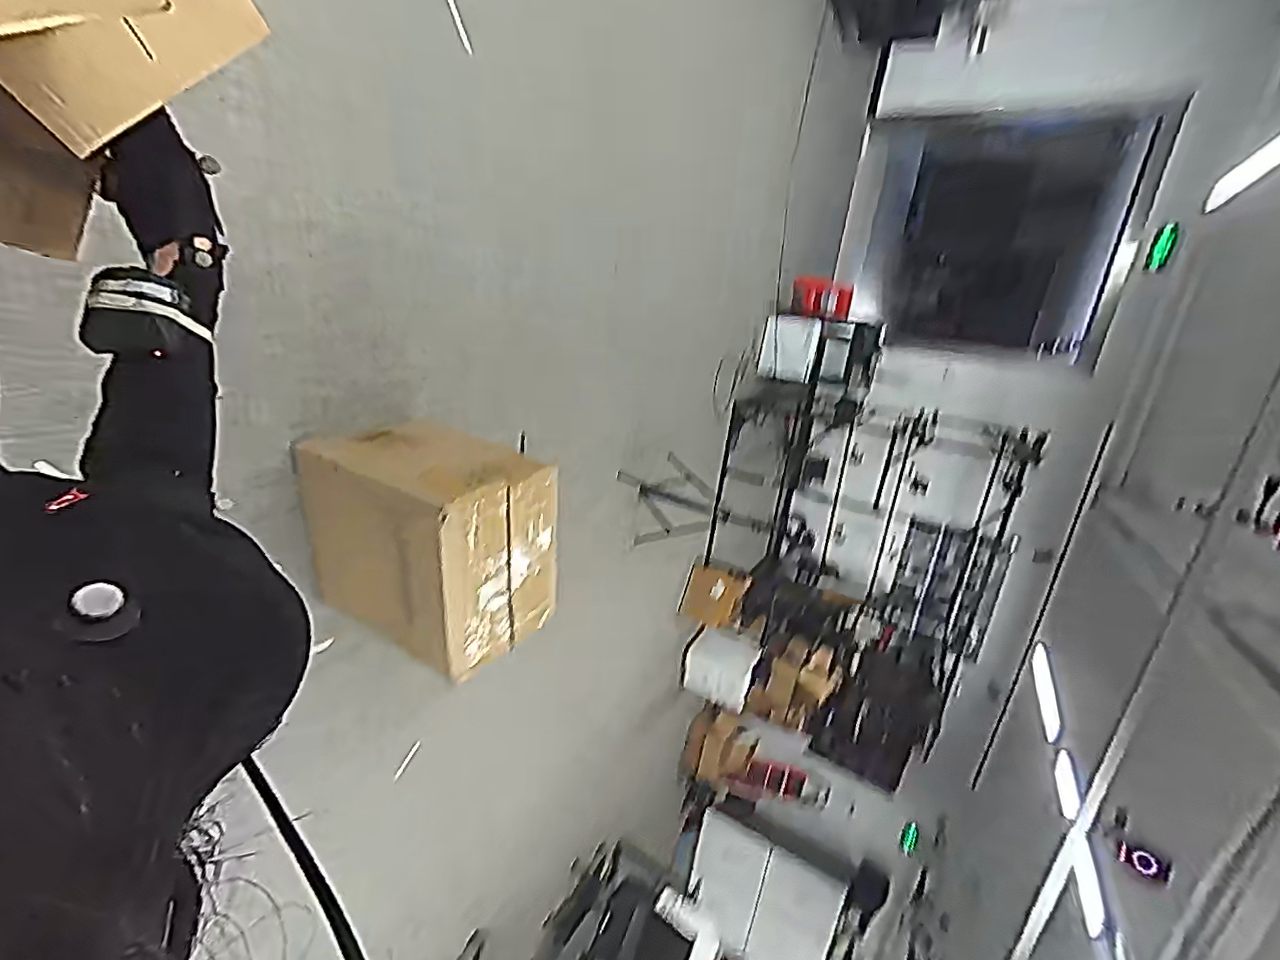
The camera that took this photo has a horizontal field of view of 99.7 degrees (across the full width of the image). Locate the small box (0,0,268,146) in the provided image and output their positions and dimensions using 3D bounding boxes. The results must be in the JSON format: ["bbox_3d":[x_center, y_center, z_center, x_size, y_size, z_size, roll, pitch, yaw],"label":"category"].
[{"bbox_3d":[-0.396,-0.339,0.328,0.168,0.176,0.179,-57,153,-21],"label":"small box"}]
